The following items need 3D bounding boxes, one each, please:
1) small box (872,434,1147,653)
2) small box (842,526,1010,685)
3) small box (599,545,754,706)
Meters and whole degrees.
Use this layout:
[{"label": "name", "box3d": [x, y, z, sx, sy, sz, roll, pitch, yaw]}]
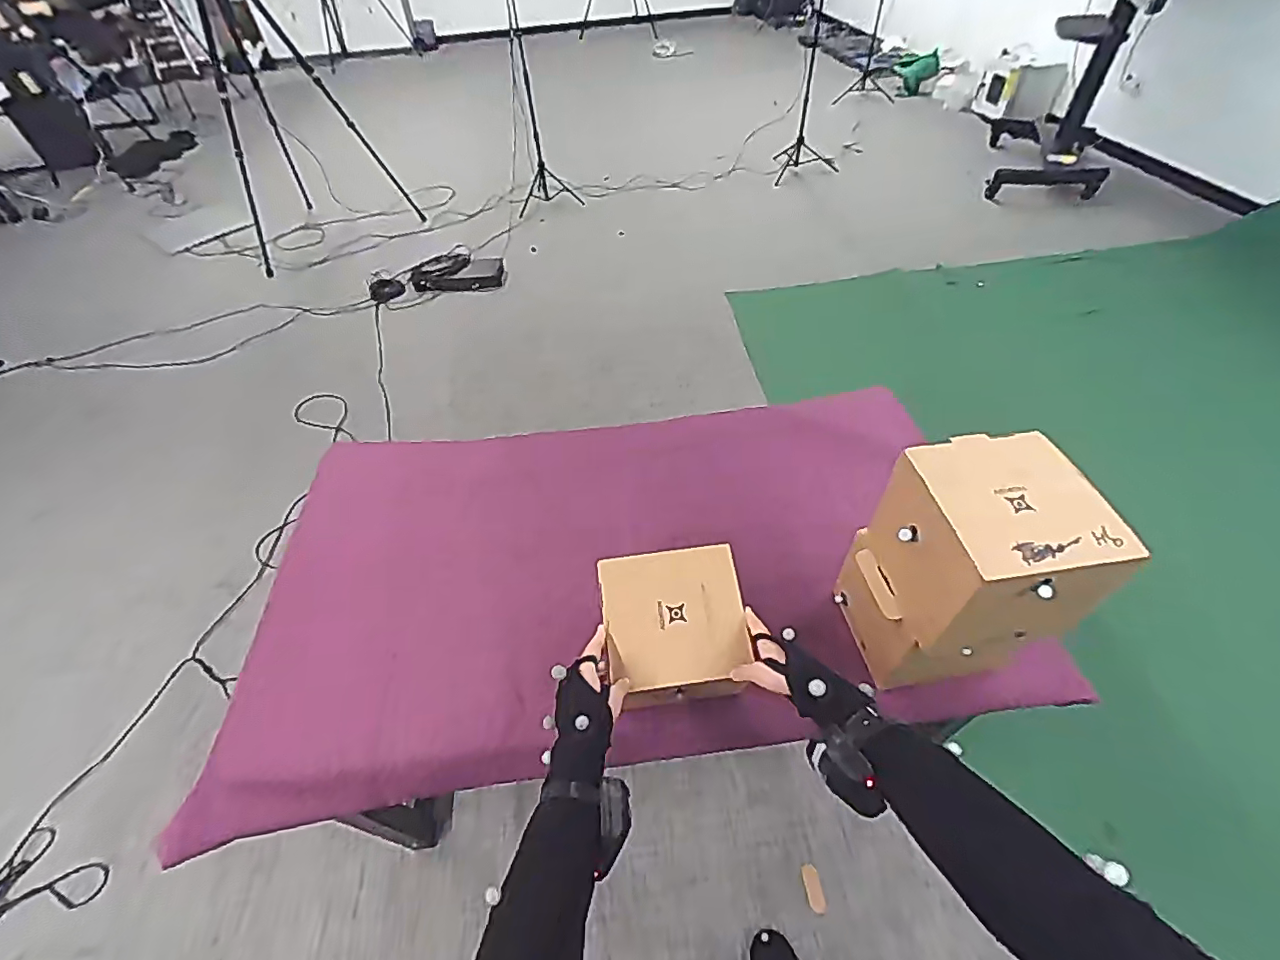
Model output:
[{"label": "small box", "box3d": [0.391, 0.074, 0.619, 0.168, 0.176, 0.179, -8, 48, -1]}, {"label": "small box", "box3d": [0.401, 0.168, 0.754, 0.179, 0.176, 0.168, -9, 49, -4]}, {"label": "small box", "box3d": [0.044, 0.204, 0.735, 0.179, 0.176, 0.168, -7, 61, -1]}]
